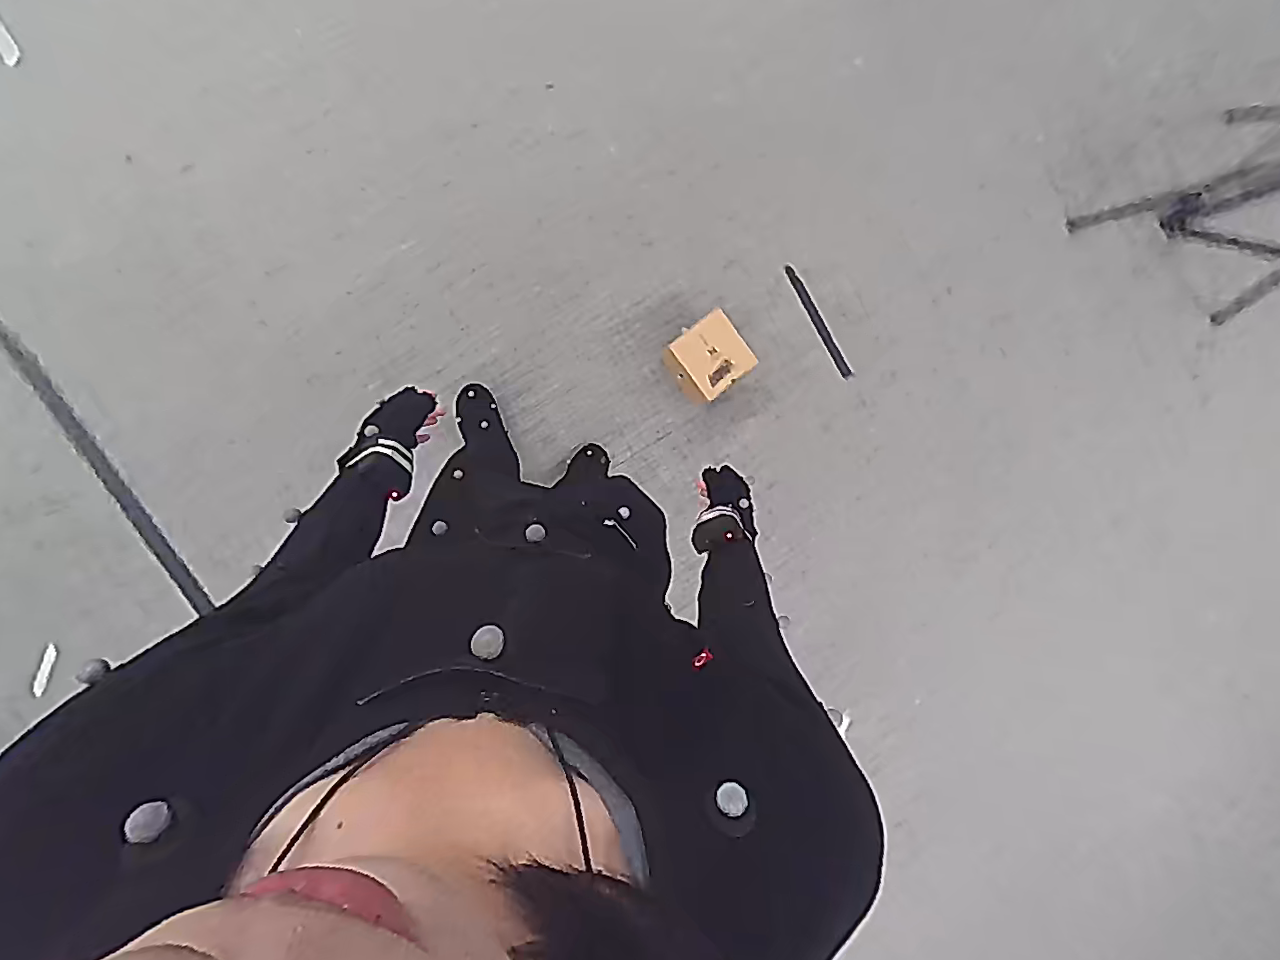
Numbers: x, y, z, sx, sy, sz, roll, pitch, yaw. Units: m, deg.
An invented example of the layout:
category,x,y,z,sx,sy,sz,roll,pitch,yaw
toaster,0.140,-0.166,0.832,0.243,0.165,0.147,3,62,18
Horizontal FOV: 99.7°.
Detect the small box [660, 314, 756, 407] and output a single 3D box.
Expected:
category,x,y,z,sx,sy,sz,roll,pitch,yaw
small box,0.174,-0.307,1.436,0.168,0.176,0.179,-37,97,-3
